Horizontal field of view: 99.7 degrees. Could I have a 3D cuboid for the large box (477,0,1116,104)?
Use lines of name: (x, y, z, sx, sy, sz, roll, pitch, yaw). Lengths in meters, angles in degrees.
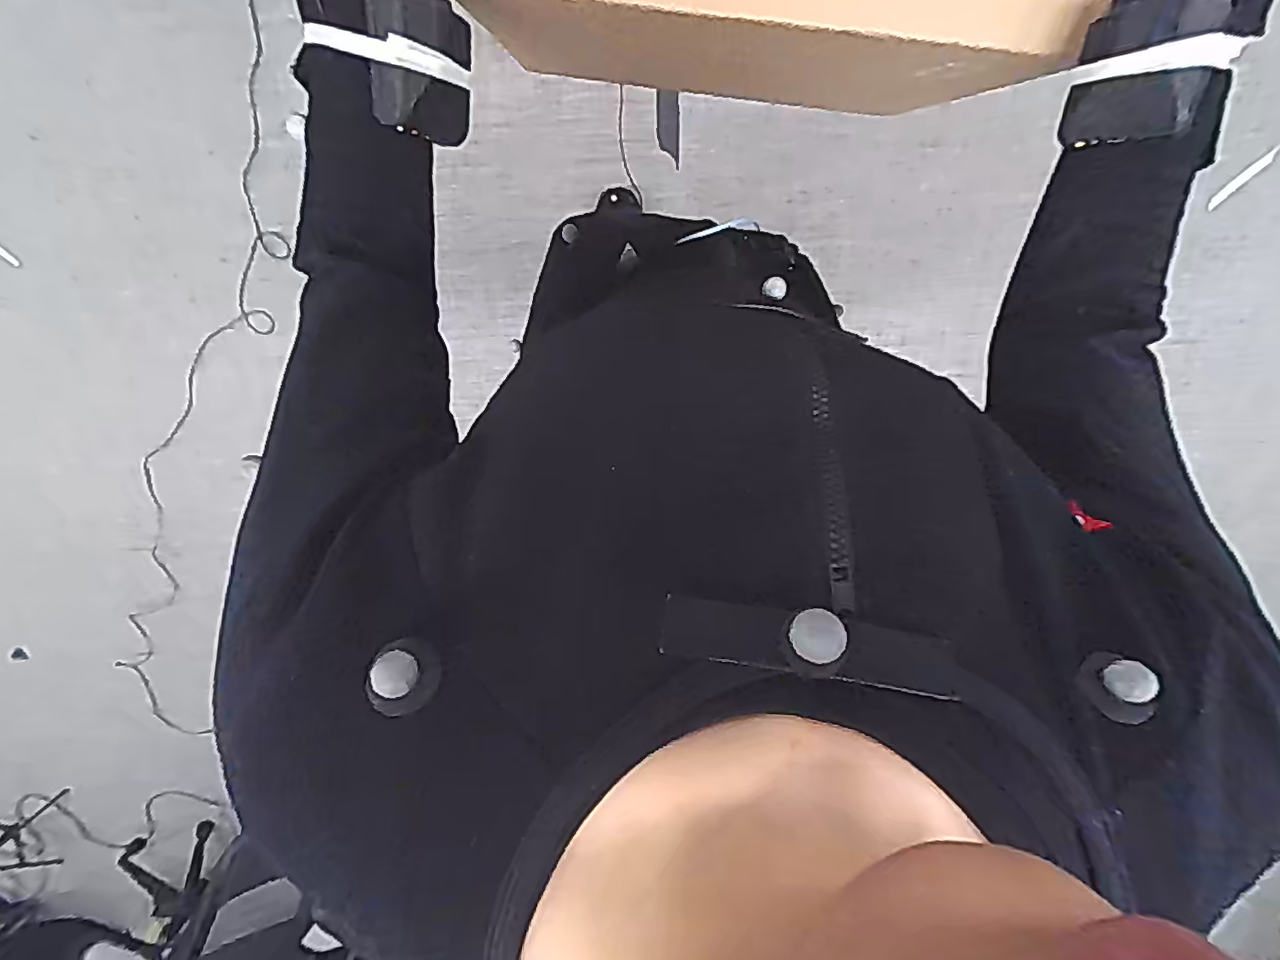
large box: (0.093, -0.482, 0.379, 0.408, 0.320, 0.320, 4, 120, -4)
